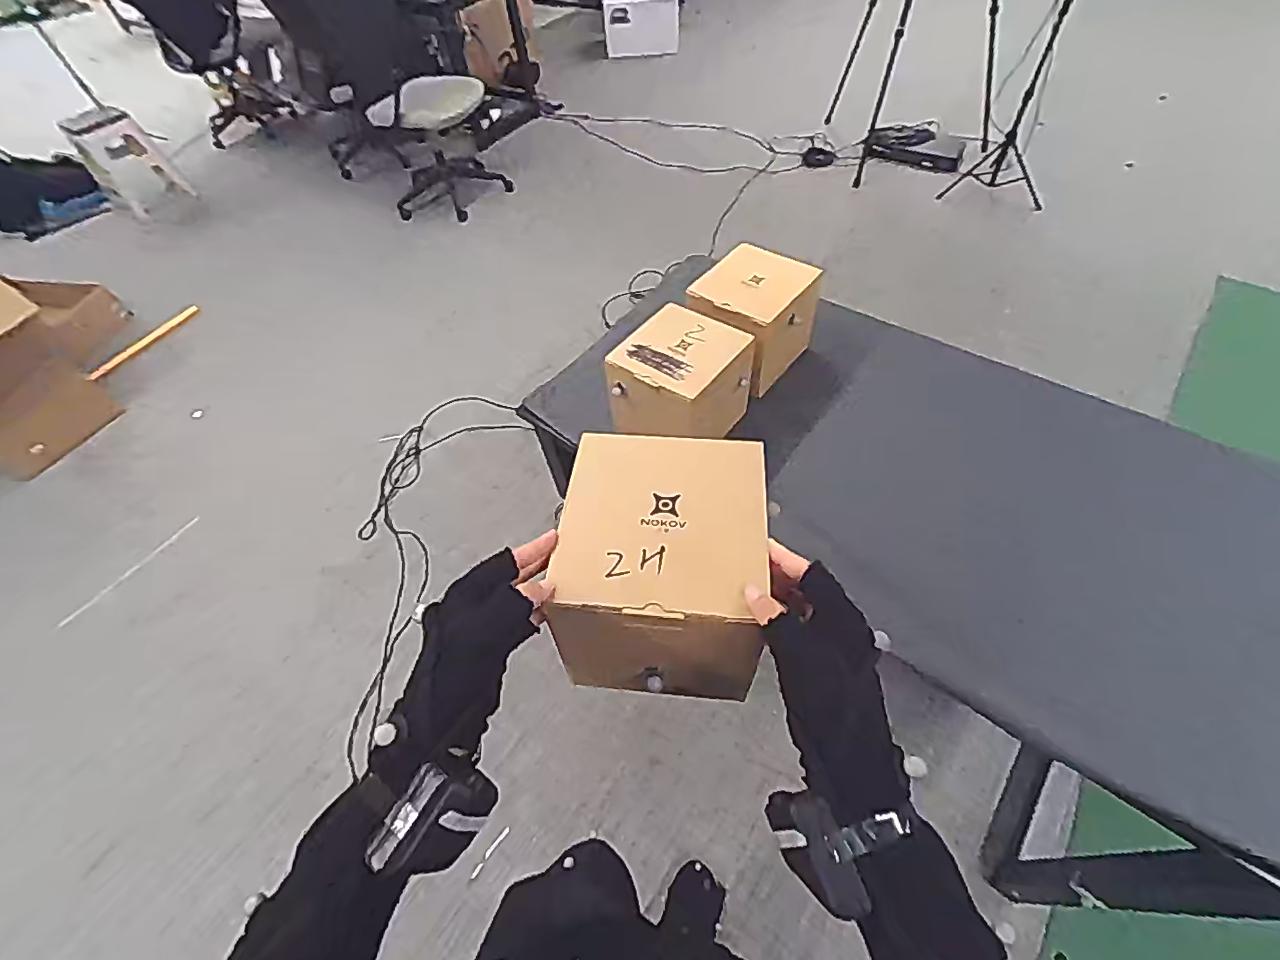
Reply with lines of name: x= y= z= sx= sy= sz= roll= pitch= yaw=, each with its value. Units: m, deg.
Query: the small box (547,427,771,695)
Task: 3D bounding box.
small box: x=0.024 y=0.075 z=0.498 sx=0.168 sy=0.176 sz=0.179 roll=4 pitch=51 yaw=6

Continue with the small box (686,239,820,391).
small box: x=0.196 y=-0.298 z=0.982 sx=0.168 sy=0.176 sz=0.179 roll=33 pitch=64 yaw=25
